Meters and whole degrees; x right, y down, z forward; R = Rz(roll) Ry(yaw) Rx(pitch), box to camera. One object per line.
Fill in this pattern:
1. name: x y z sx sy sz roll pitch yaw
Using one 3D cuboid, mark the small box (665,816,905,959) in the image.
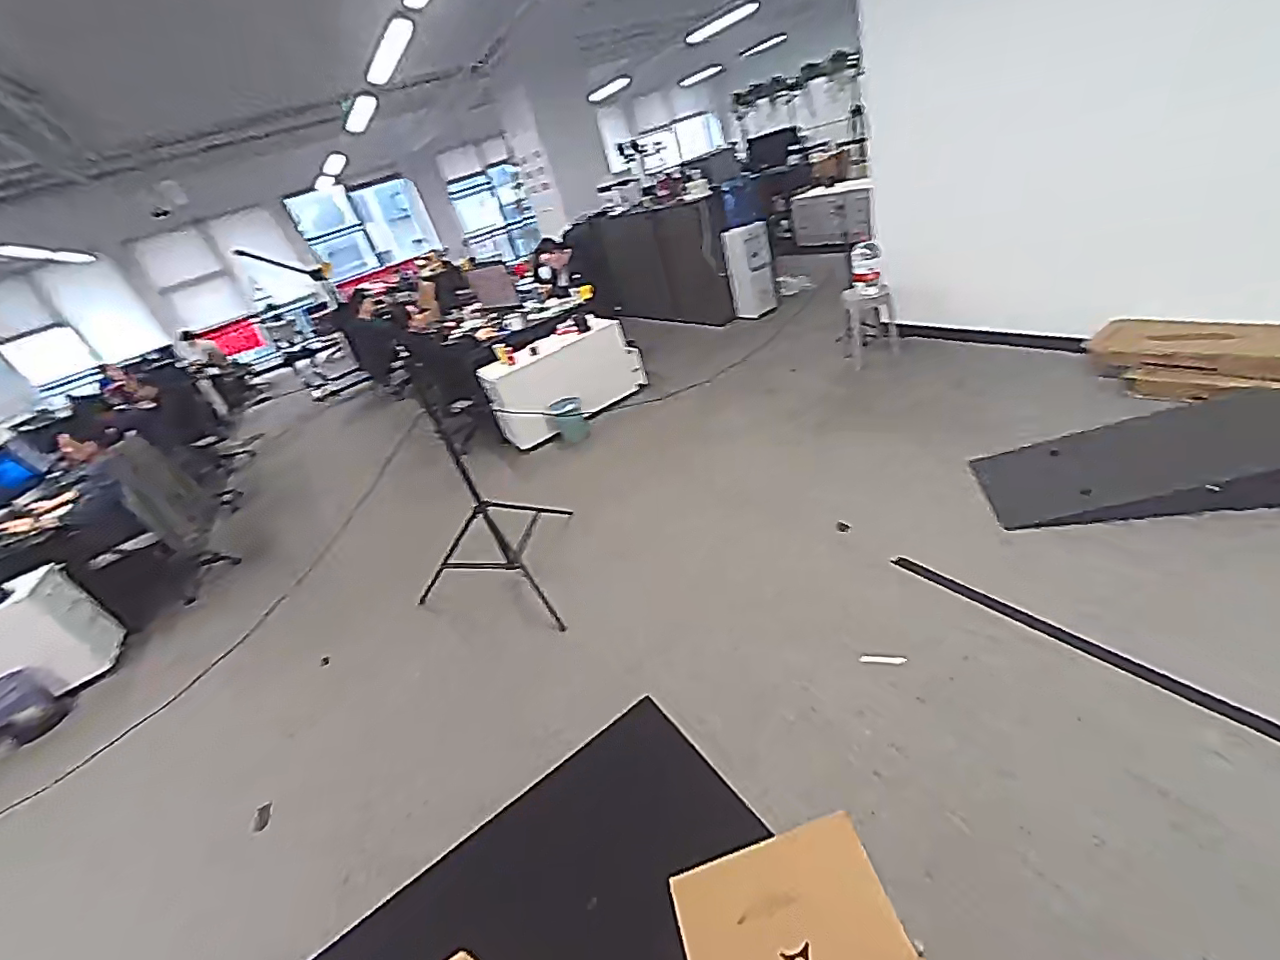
1. small box: 0.138 0.428 0.454 0.168 0.176 0.179 -20 38 0
